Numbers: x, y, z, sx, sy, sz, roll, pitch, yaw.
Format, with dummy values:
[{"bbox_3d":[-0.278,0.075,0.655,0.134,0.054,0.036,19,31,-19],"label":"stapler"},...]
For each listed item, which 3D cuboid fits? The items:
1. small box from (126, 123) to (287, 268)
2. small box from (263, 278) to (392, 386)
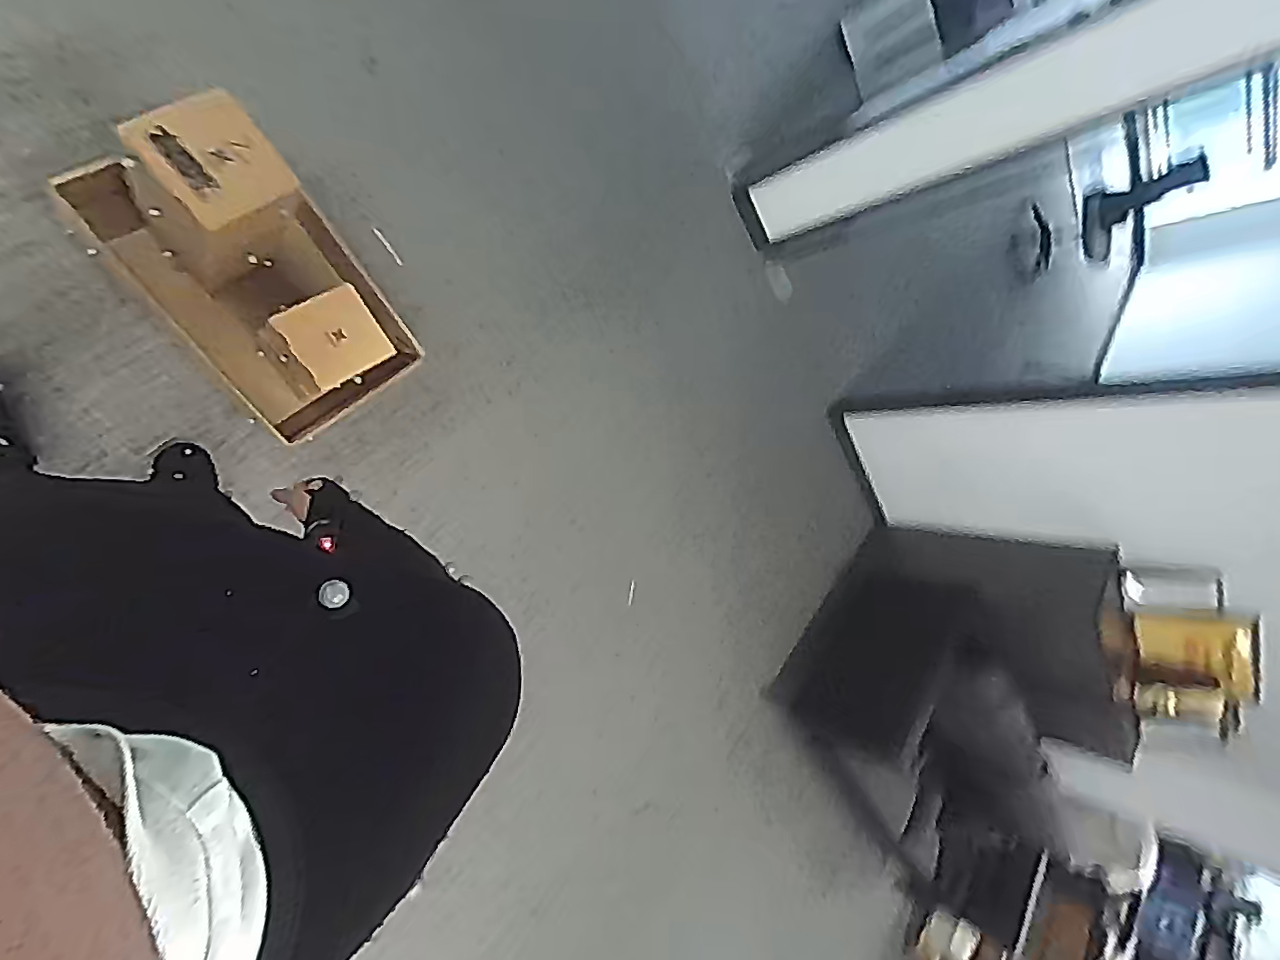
[{"bbox_3d":[-0.832,-0.542,1.047,0.179,0.176,0.168,-48,119,-27],"label":"small box"},{"bbox_3d":[-0.687,-0.318,1.183,0.179,0.176,0.168,-41,118,-28],"label":"small box"}]
